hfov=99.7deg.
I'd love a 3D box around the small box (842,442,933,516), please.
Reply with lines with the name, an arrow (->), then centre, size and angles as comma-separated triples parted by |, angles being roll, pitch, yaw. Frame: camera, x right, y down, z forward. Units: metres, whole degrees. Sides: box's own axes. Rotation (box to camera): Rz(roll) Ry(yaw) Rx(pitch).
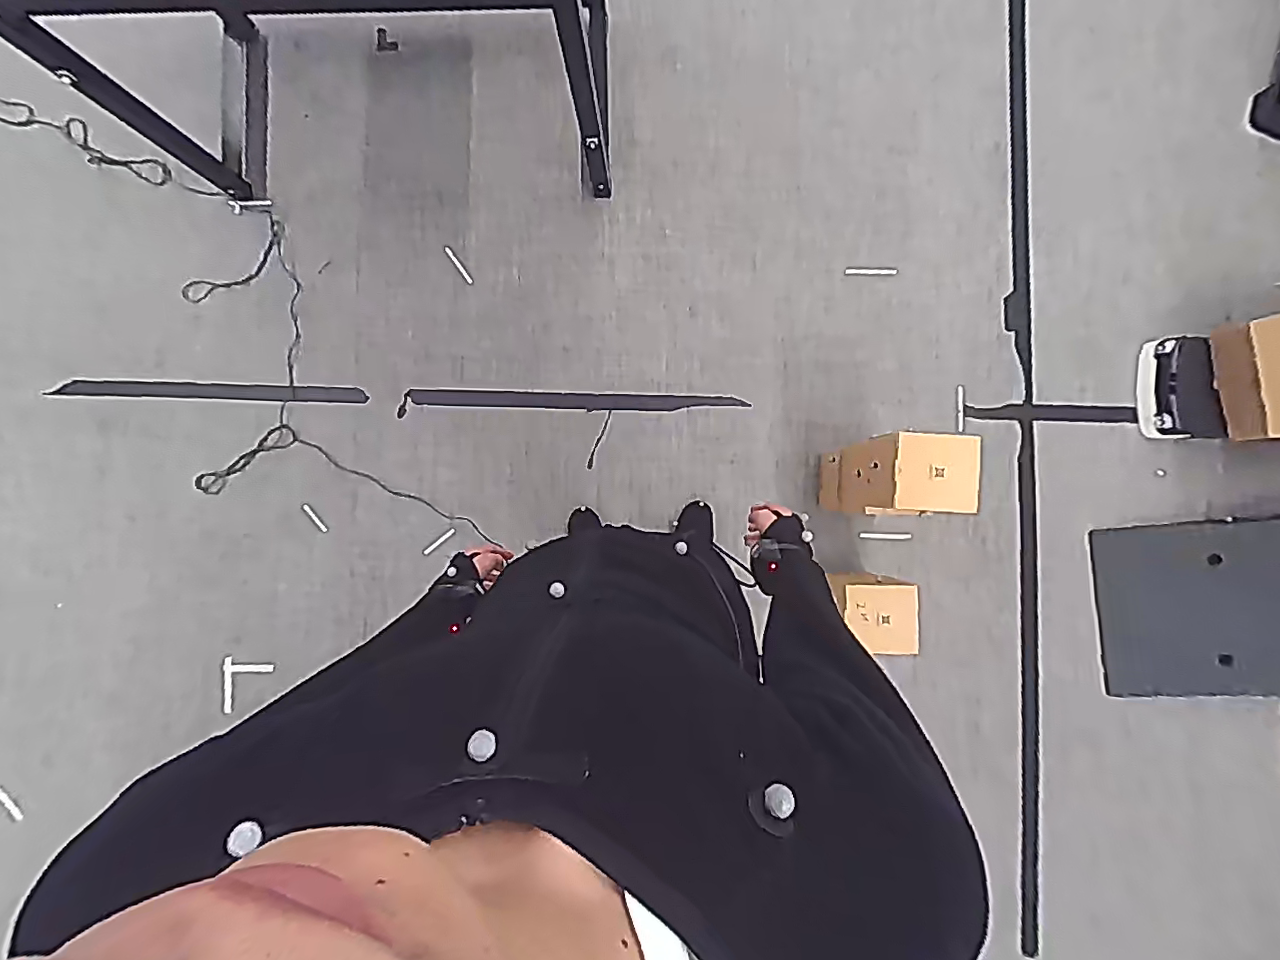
small box -> 0.624, -0.001, 1.375 | 0.168, 0.176, 0.179 | 1, 90, 2

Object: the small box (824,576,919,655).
small box -> 0.581, 0.337, 1.372 | 0.179, 0.176, 0.168 | 0, 88, 2

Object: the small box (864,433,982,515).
small box -> 0.627, -0.014, 1.212 | 0.179, 0.176, 0.168 | 3, 90, 2

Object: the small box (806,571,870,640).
small box -> 0.583, 0.353, 1.537 | 0.179, 0.176, 0.168 | -1, 88, 3
